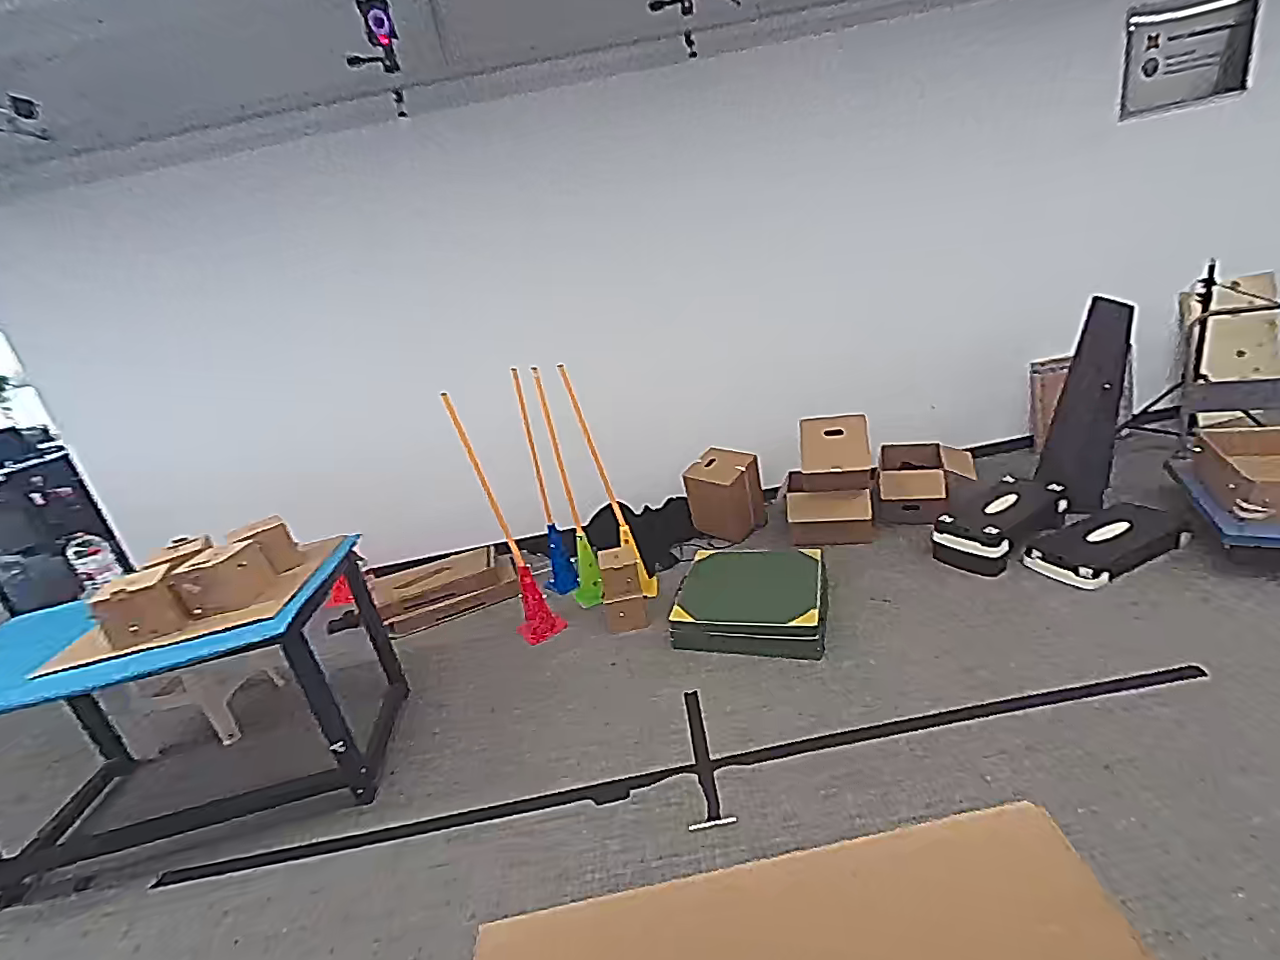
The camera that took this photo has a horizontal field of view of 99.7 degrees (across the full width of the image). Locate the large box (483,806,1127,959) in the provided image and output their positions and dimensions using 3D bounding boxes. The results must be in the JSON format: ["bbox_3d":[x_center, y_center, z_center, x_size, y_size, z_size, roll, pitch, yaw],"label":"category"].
[{"bbox_3d":[0.131,0.481,0.339,0.408,0.320,0.320,-13,30,0],"label":"large box"}]
